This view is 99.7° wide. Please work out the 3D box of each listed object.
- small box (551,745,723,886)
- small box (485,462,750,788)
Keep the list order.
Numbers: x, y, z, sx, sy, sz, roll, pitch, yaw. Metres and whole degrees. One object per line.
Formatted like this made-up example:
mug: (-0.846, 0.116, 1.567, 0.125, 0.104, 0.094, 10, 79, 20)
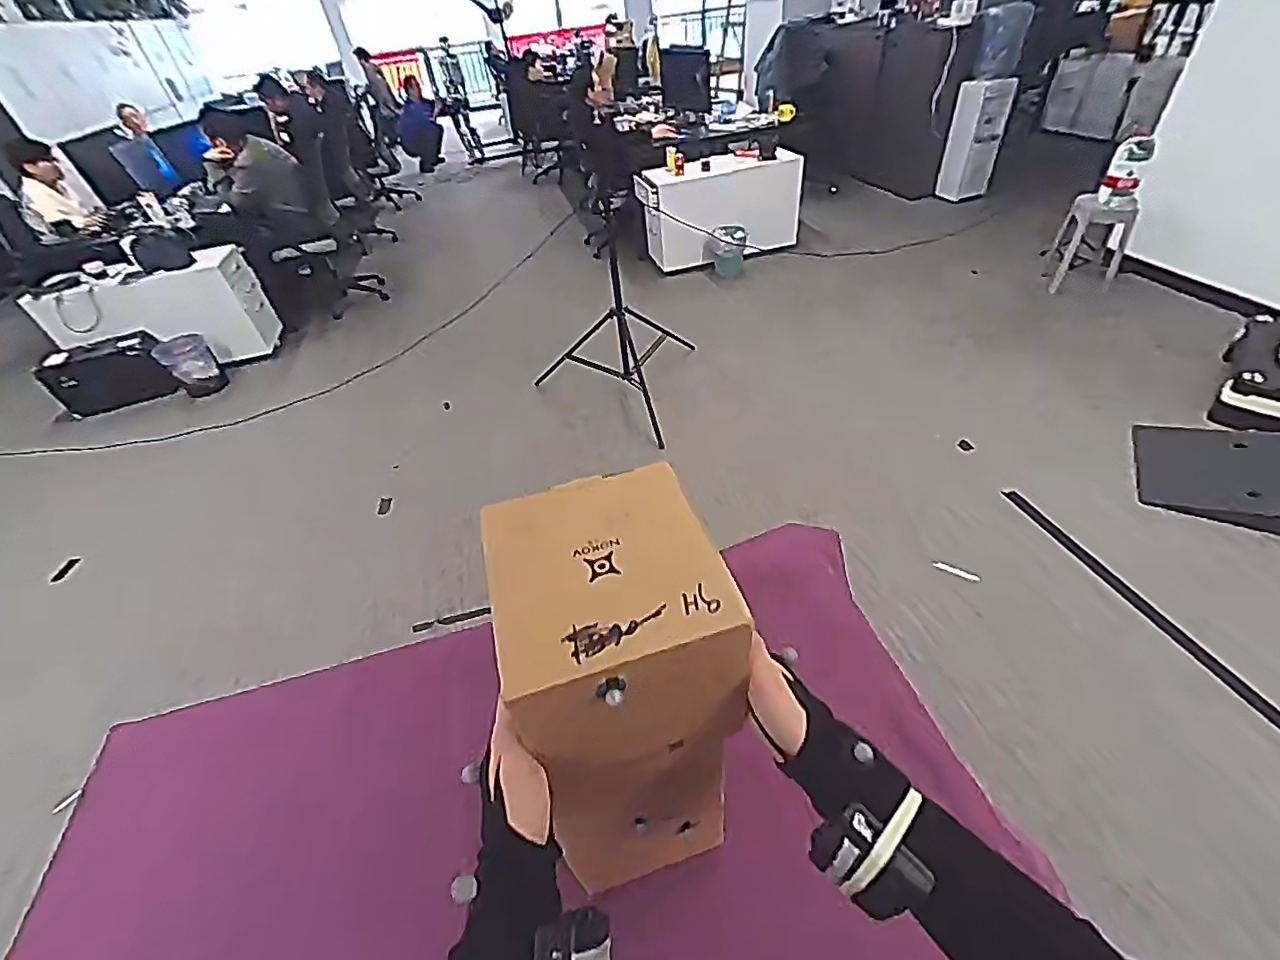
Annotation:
small box: (-0.009, 0.363, 0.668, 0.179, 0.176, 0.168, -16, 42, -8)
small box: (-0.023, 0.116, 0.451, 0.168, 0.176, 0.179, -15, 42, -9)
